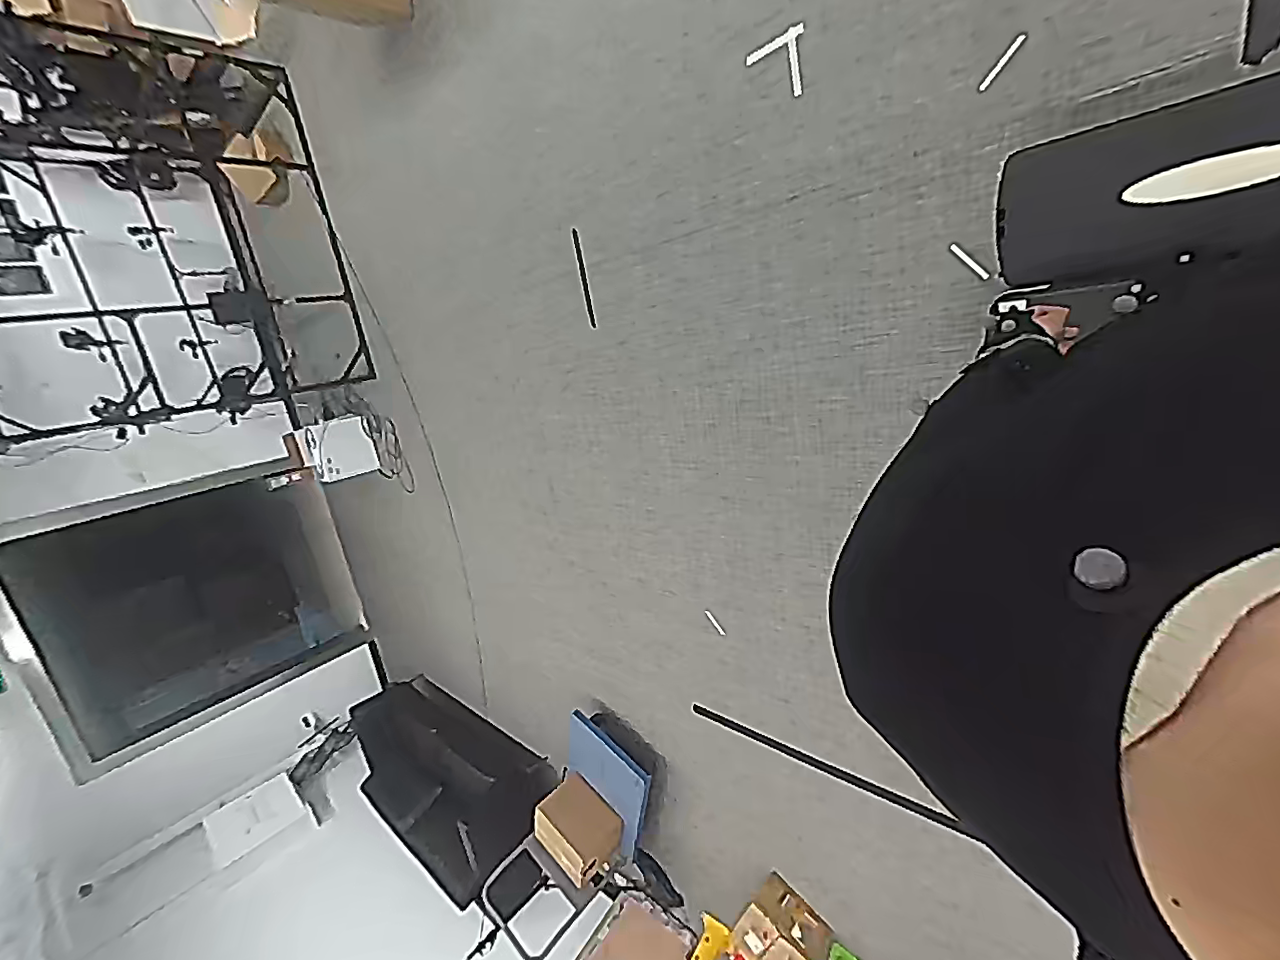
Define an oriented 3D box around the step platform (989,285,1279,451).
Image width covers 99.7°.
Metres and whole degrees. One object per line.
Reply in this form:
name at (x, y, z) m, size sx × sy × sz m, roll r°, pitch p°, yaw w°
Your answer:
step platform at (1.067, -0.216, 1.023) m, size 0.684 × 0.204 × 0.286 m, roll 12°, pitch 114°, yaw 44°
